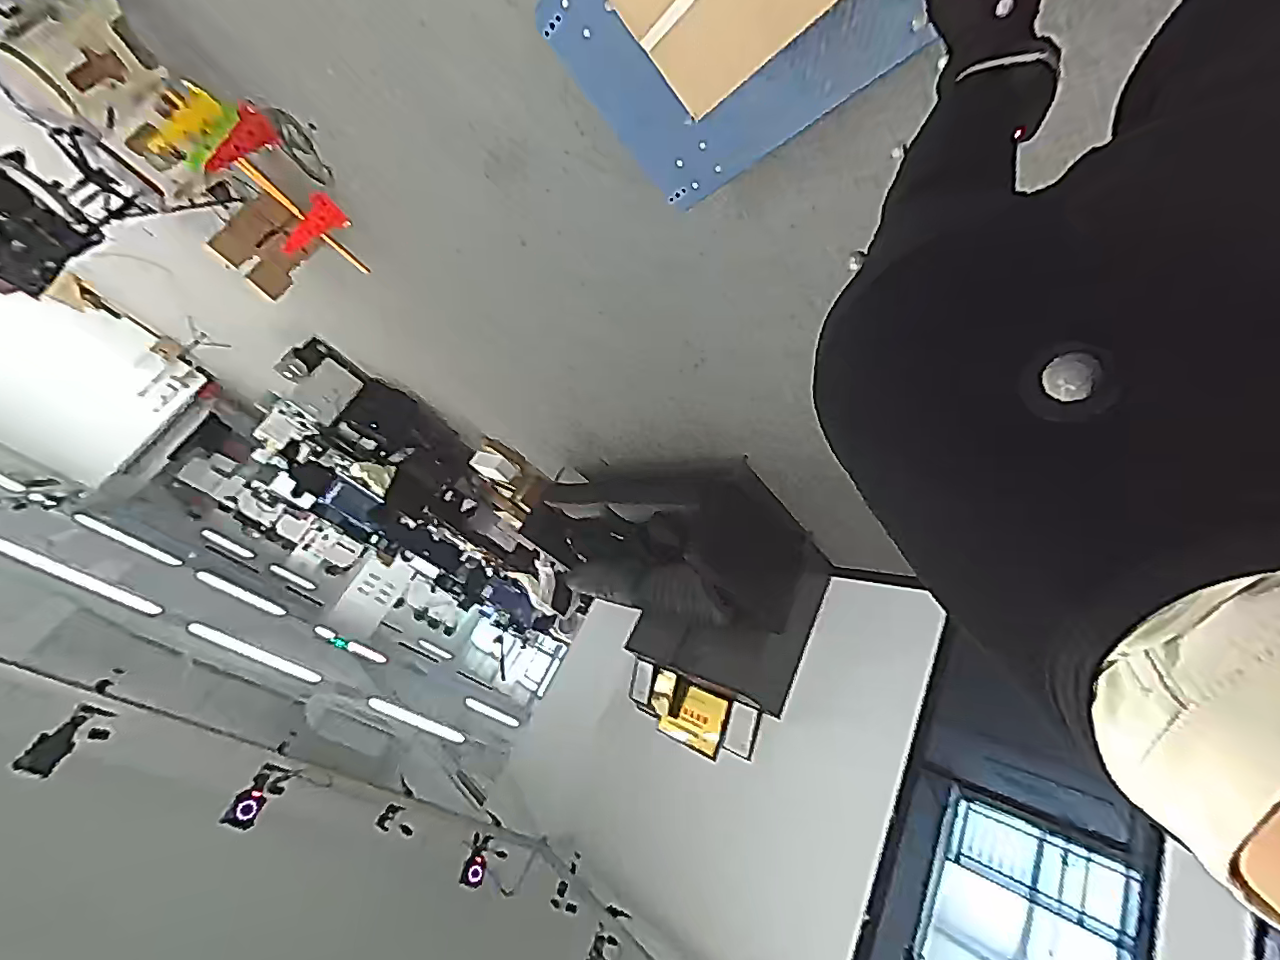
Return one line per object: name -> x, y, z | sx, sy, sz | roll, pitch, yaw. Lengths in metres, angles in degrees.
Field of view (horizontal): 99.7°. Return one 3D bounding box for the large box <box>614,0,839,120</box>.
large box -> 0.193, -0.932, 0.894 | 0.320, 0.320, 0.408 | 41, 147, -28
